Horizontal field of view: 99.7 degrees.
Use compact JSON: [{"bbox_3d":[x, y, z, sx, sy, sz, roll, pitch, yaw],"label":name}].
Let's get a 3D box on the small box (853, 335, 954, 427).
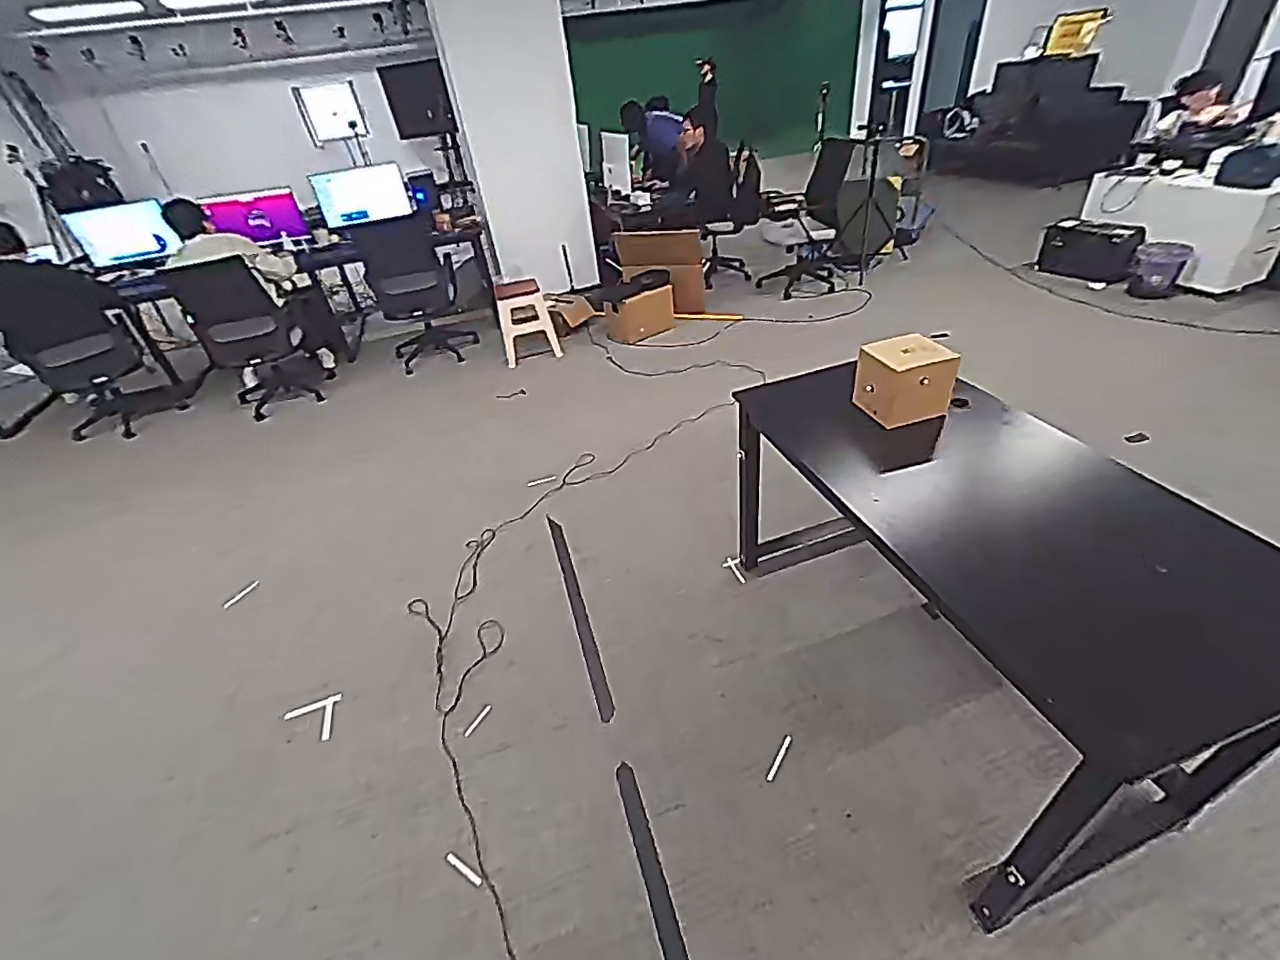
[{"bbox_3d":[0.682,-0.259,1.424,0.179,0.176,0.168,-15,37,-8],"label":"small box"}]
